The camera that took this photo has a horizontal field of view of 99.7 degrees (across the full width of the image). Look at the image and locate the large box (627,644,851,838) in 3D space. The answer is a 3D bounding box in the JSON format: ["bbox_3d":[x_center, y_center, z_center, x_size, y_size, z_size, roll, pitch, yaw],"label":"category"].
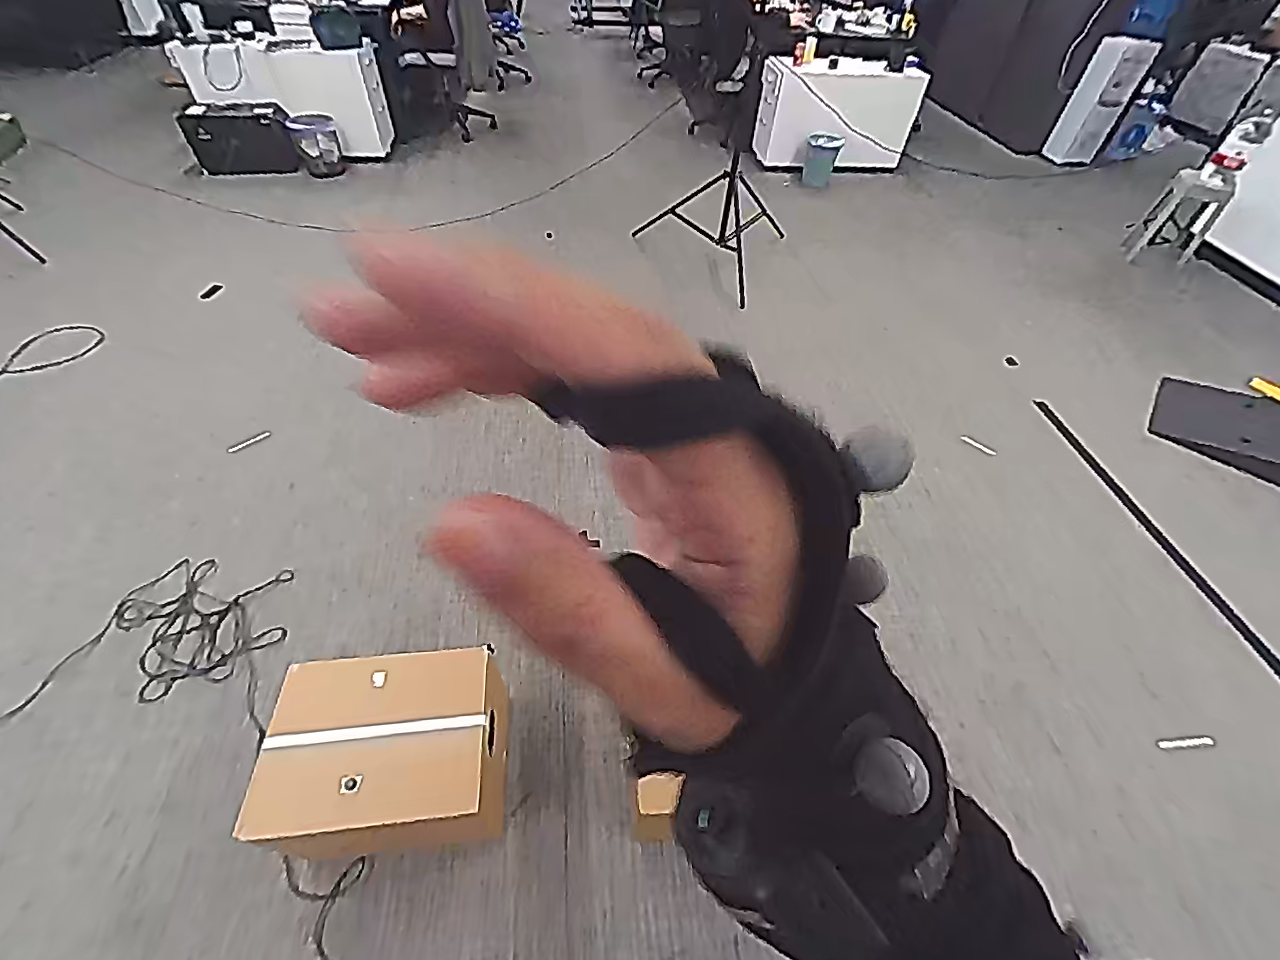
[{"bbox_3d":[0.184,0.585,1.212,0.408,0.320,0.320,0,49,-5],"label":"large box"}]
